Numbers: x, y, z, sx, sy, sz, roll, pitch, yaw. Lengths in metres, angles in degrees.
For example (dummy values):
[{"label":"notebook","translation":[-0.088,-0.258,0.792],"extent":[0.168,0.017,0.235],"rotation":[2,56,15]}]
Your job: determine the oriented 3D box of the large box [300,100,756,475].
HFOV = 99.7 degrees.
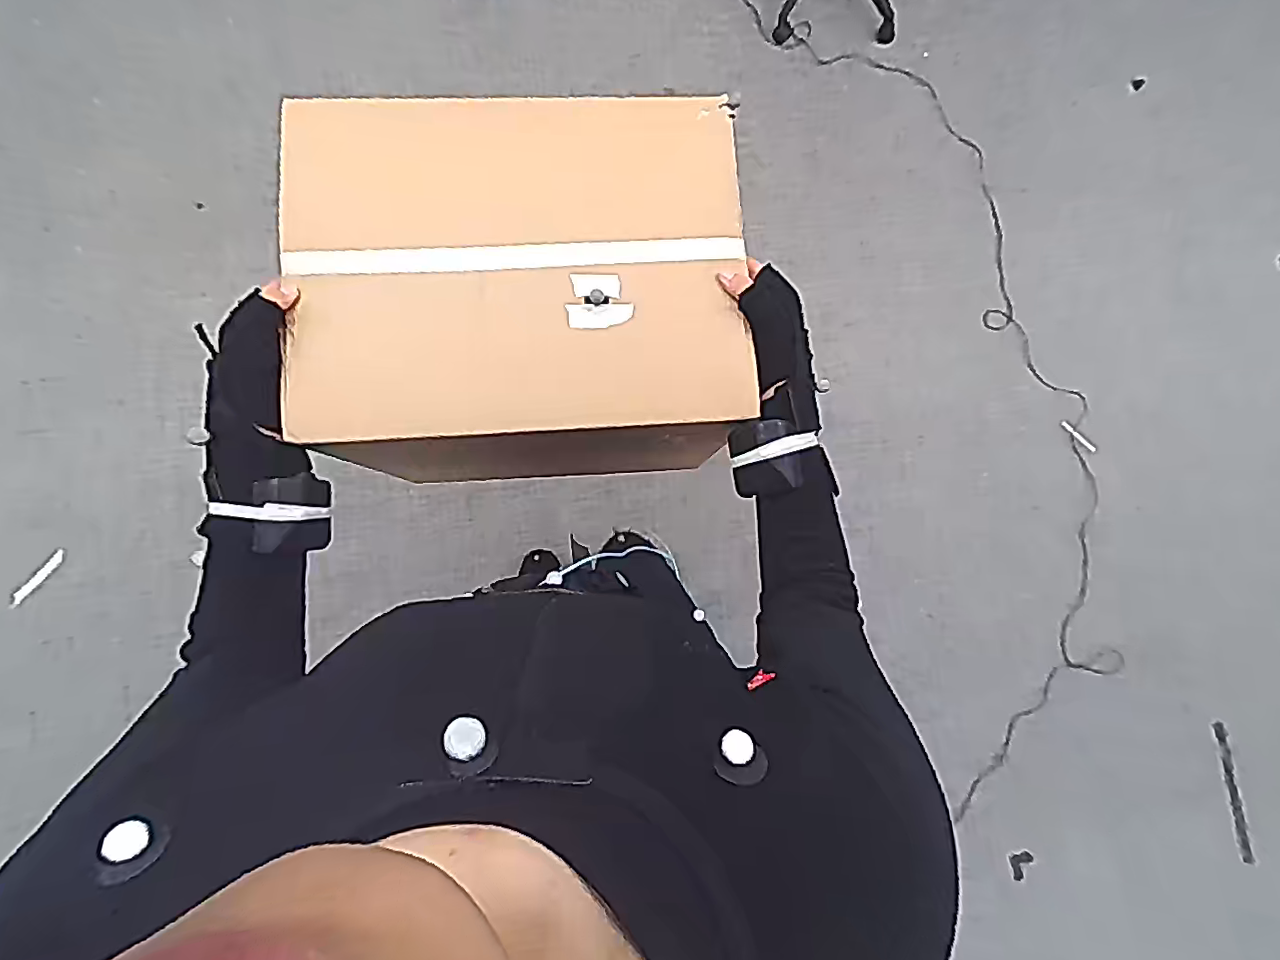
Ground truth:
[{"label":"large box","translation":[-0.114,-0.188,0.638],"extent":[0.408,0.320,0.320],"rotation":[-3,85,-5]}]
